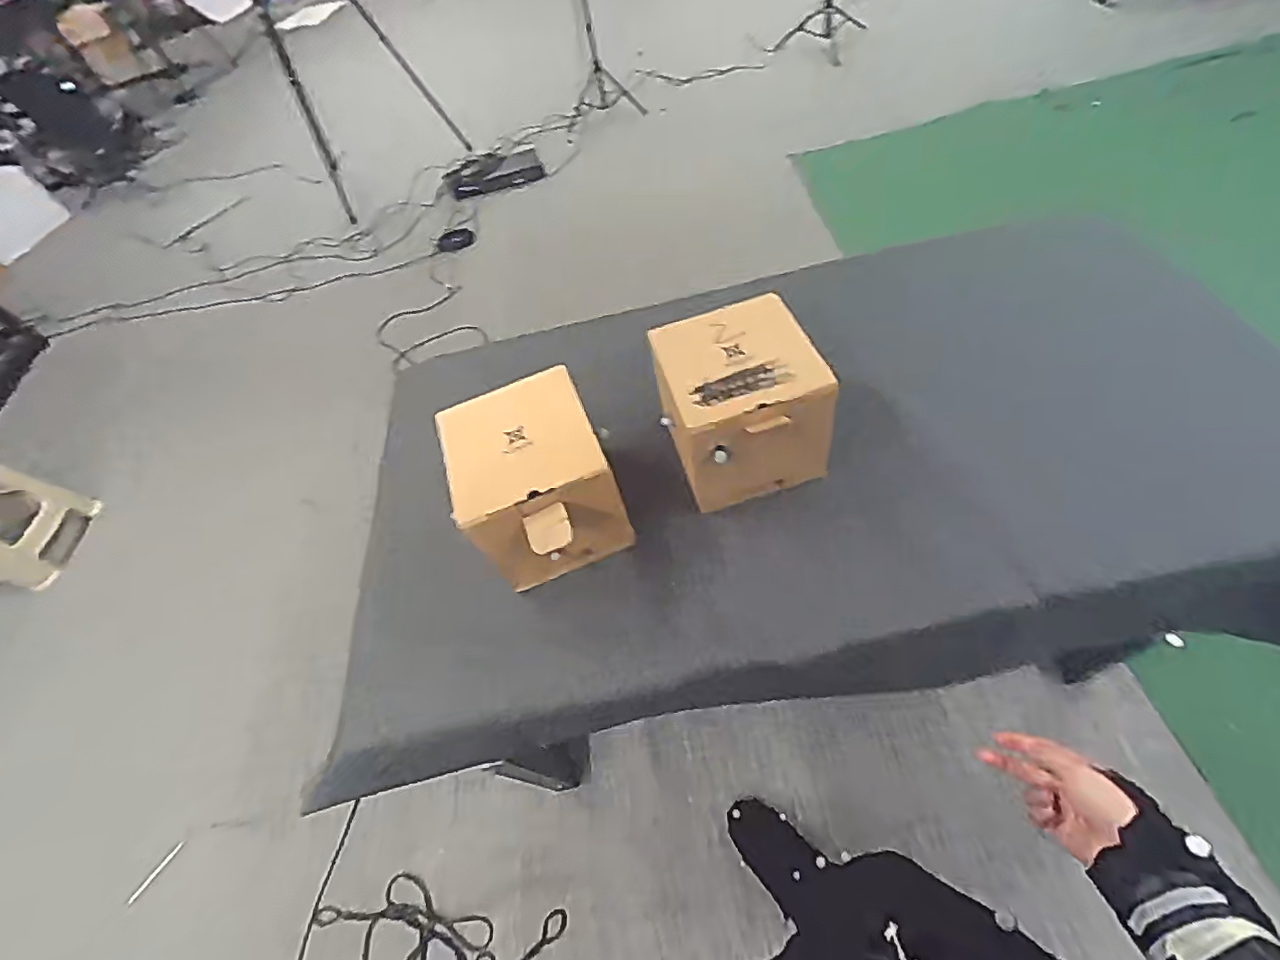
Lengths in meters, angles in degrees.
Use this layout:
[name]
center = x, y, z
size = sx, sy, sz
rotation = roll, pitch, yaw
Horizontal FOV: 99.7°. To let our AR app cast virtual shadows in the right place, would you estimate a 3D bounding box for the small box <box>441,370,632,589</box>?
[small box]
center = -0.122, 0.003, 0.665
size = 0.168, 0.176, 0.179
rotation = -22, 54, -5
